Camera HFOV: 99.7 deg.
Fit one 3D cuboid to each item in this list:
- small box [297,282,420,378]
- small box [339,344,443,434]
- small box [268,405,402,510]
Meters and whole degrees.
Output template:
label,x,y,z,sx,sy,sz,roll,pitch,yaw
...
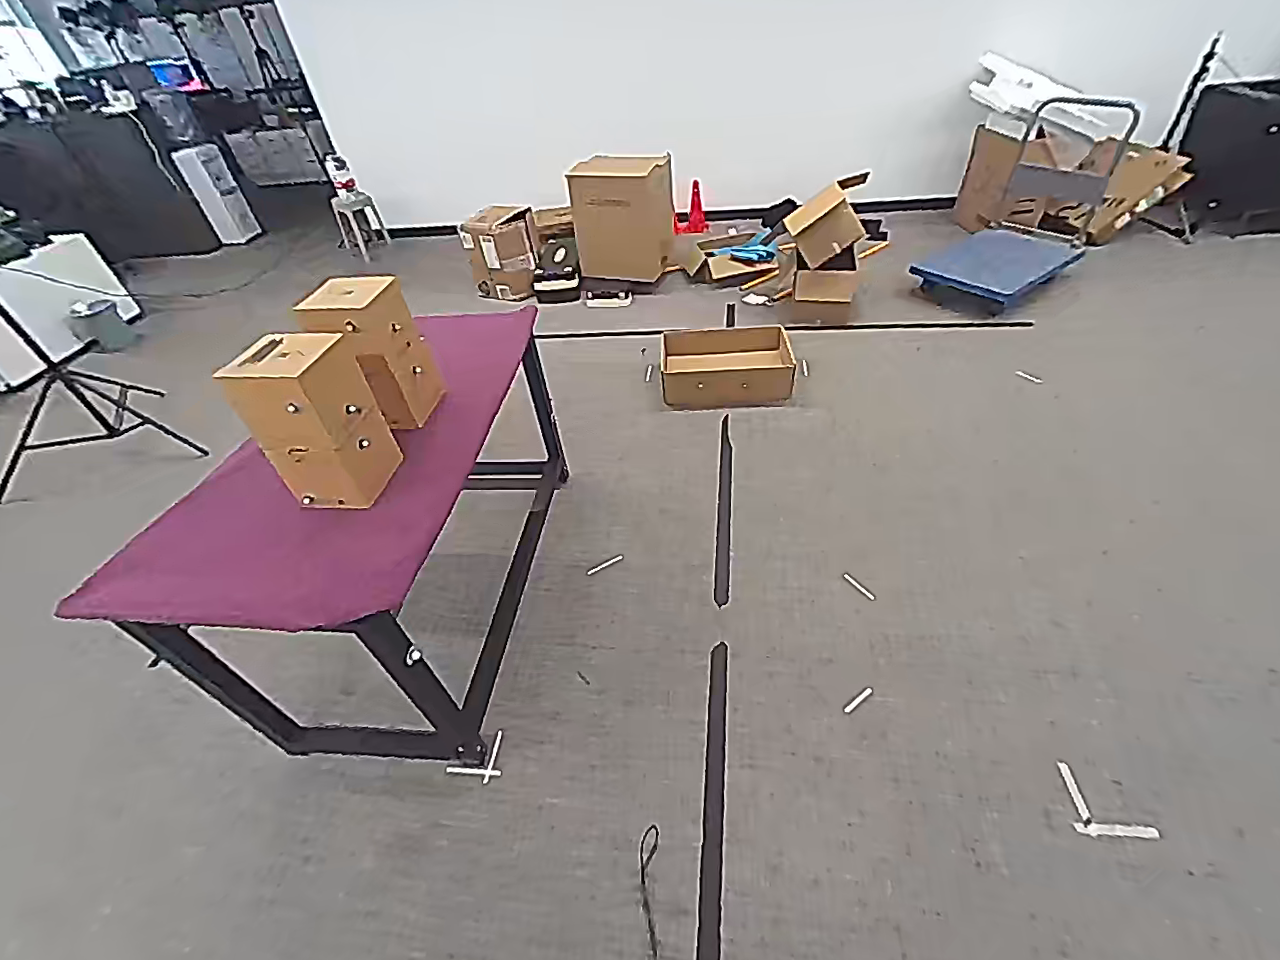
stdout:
label,x,y,z,sx,sy,sz,roll,pitch,yaw
small box,-0.660,-0.356,1.295,0.179,0.176,0.168,1,43,9
small box,-0.636,-0.239,1.409,0.168,0.176,0.179,1,43,9
small box,-0.660,-0.048,1.199,0.168,0.176,0.179,1,42,8
